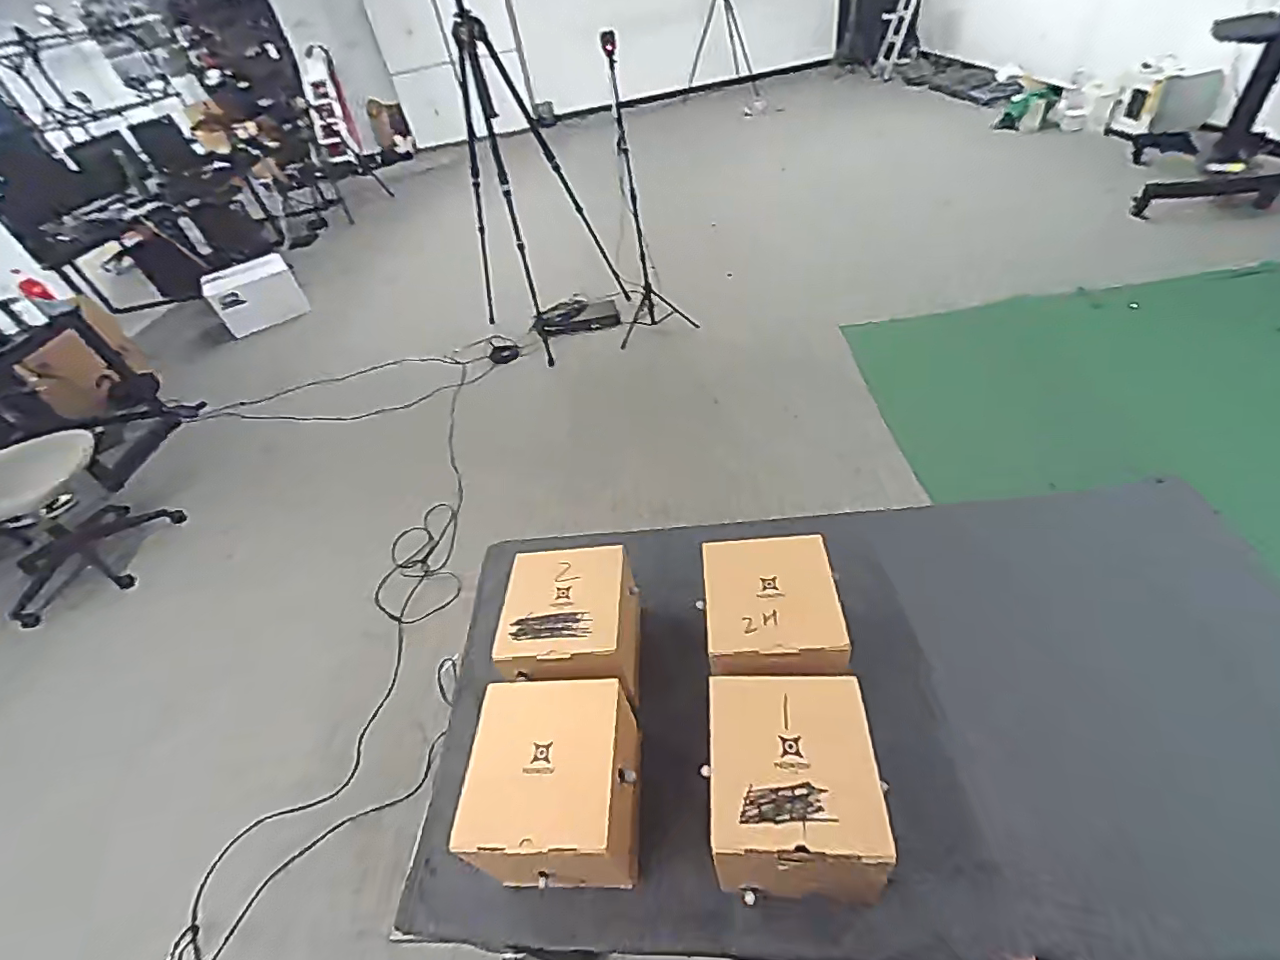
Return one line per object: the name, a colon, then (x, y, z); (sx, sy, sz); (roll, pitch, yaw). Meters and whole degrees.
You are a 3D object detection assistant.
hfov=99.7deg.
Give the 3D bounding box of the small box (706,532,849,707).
small box: (0.181, 0.196, 0.756); (0.168, 0.176, 0.179); (-5, 43, 8)
